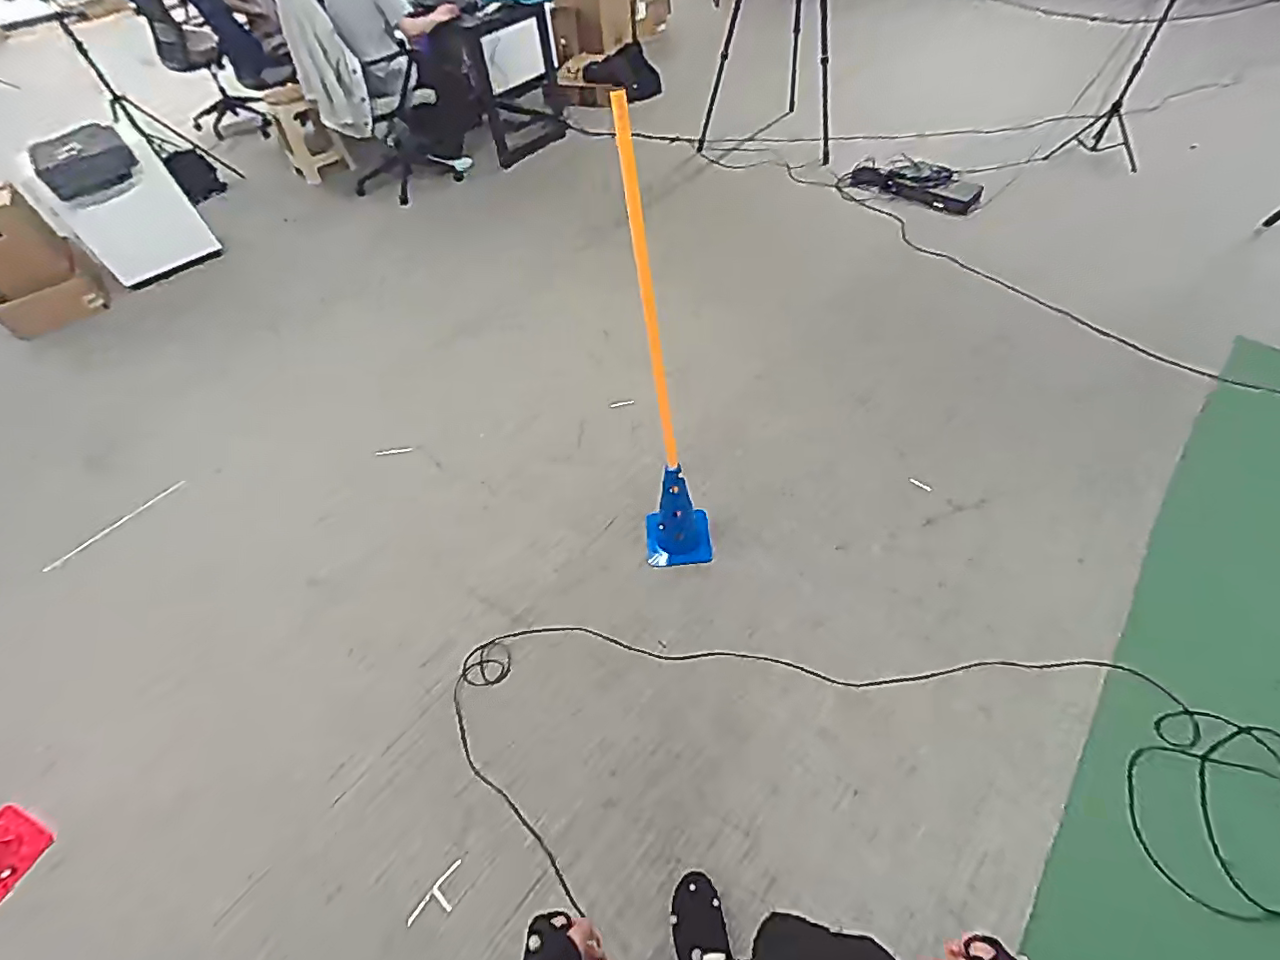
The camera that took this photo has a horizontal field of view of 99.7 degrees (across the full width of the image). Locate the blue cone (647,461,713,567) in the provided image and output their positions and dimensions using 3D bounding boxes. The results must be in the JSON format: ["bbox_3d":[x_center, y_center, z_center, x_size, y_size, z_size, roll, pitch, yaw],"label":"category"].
[{"bbox_3d":[0.104,0.081,1.567,0.192,0.380,0.193,-7,50,2],"label":"blue cone"}]
